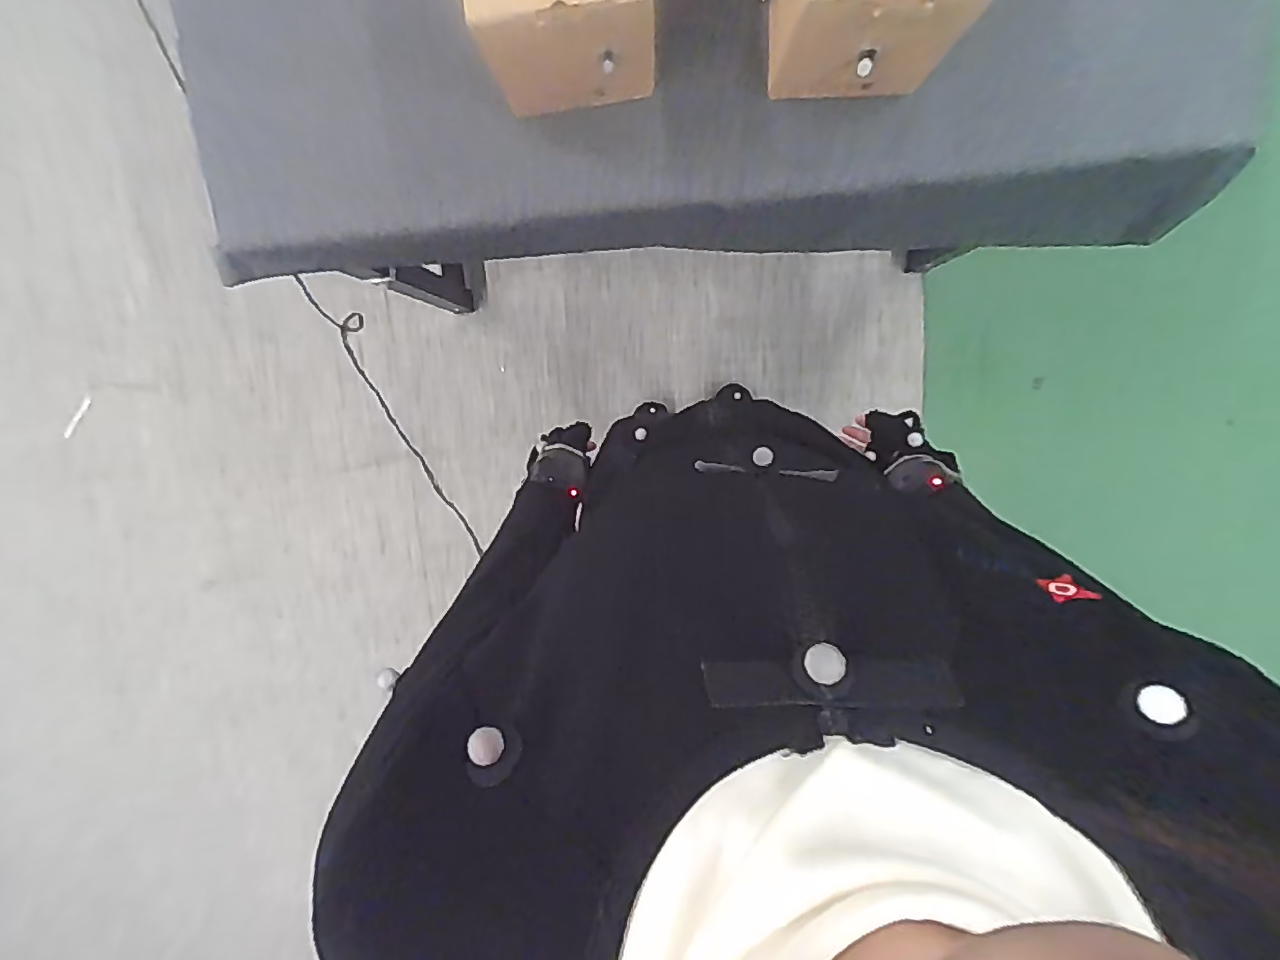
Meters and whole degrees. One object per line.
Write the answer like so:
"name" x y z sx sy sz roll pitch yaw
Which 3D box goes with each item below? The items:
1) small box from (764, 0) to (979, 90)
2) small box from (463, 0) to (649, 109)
"small box" 0.220 -0.512 0.527 0.168 0.176 0.179 -1 100 2
"small box" -0.082 -0.507 0.541 0.168 0.176 0.179 -8 98 2
